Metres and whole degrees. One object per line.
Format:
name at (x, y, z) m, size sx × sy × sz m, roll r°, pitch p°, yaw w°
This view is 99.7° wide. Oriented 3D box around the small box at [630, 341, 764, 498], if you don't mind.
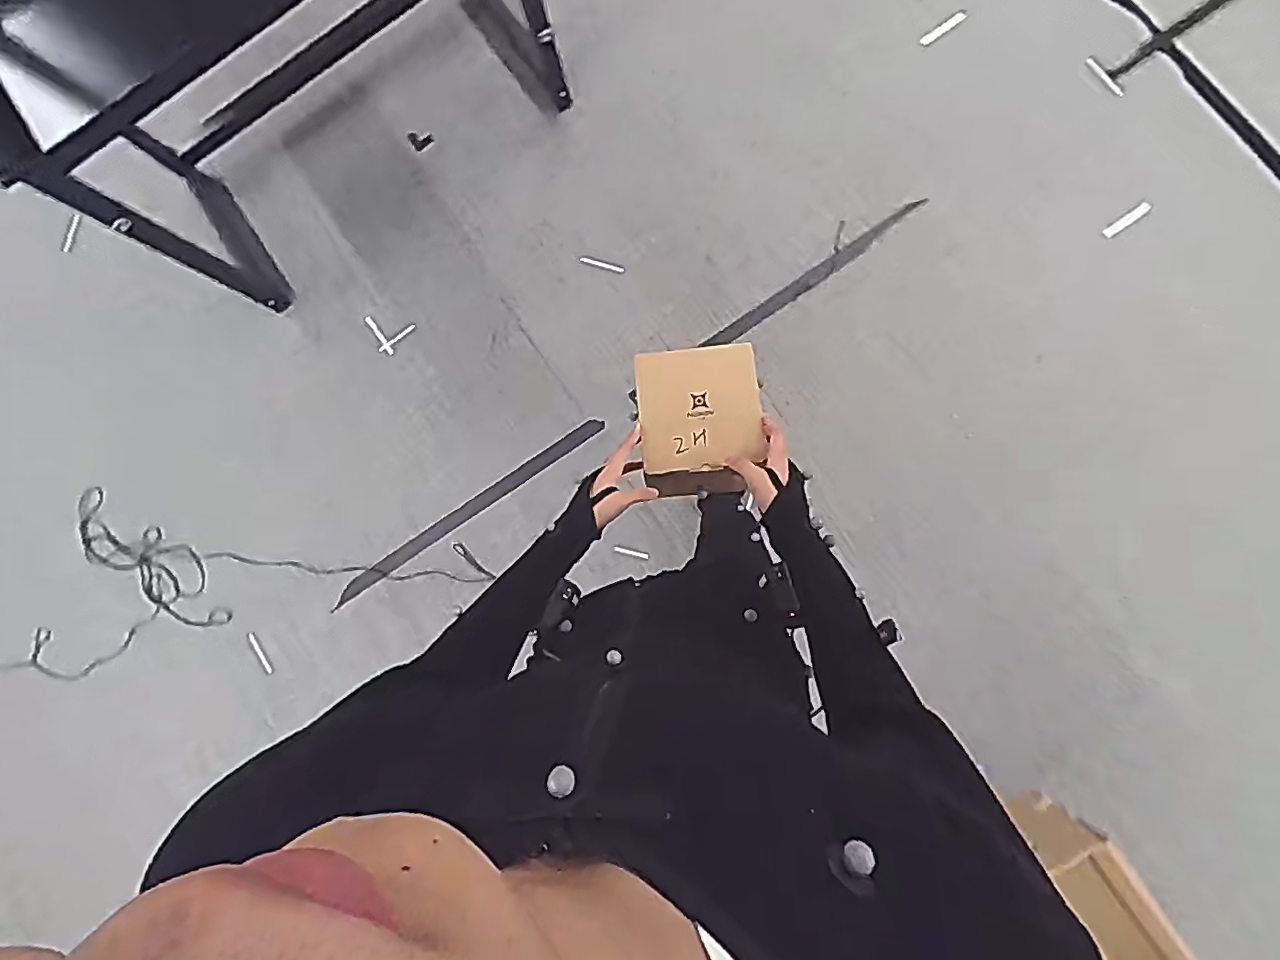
small box at (0.077, -0.081, 0.803) m, size 0.168 × 0.176 × 0.179 m, roll -7°, pitch 77°, yaw 2°
